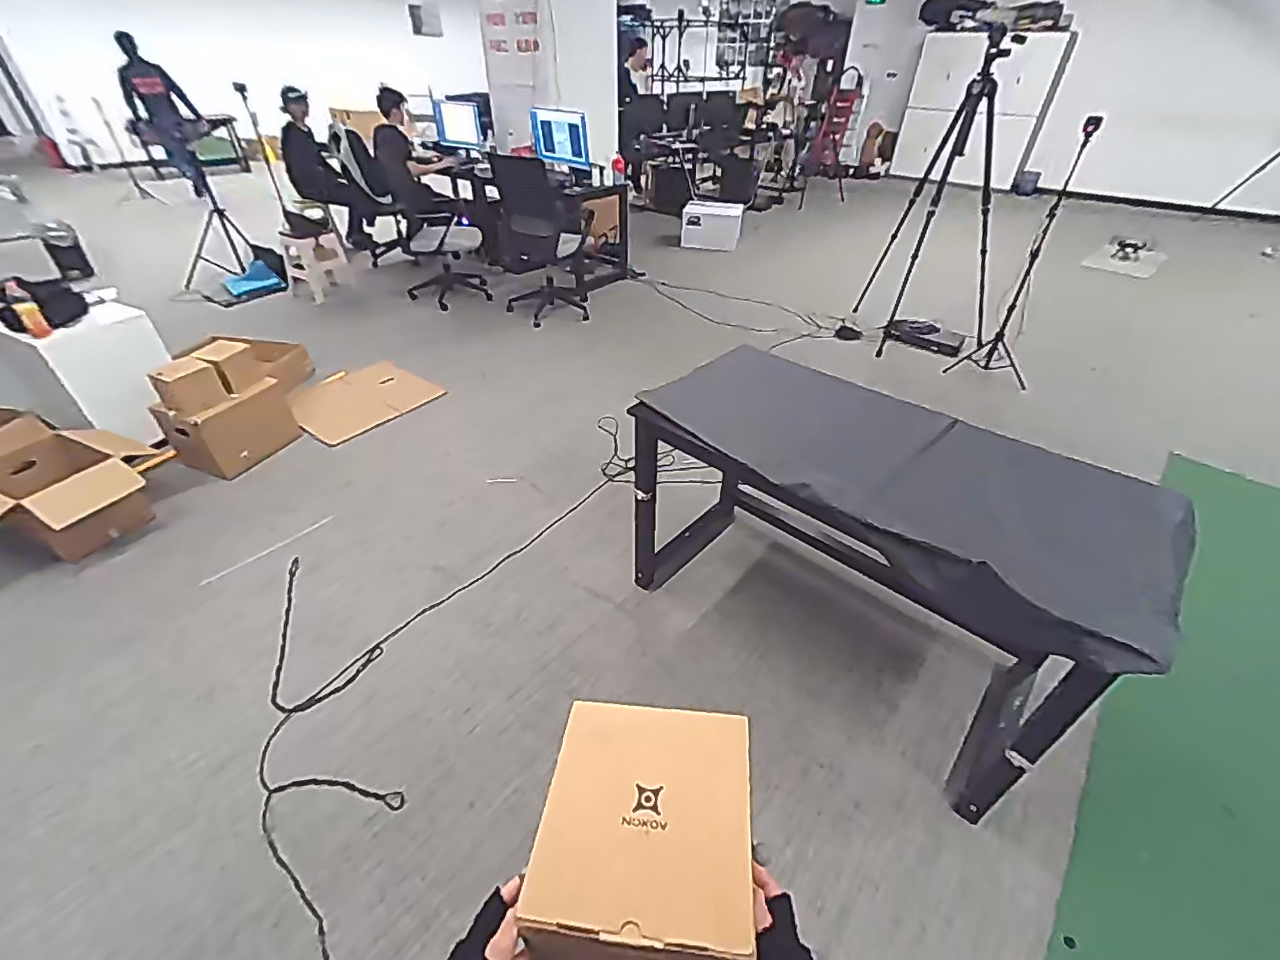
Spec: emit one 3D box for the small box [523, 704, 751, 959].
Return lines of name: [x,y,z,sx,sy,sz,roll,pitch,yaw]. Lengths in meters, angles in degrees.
small box: [0.010,0.336,0.489,0.168,0.176,0.179,2,34,8]
